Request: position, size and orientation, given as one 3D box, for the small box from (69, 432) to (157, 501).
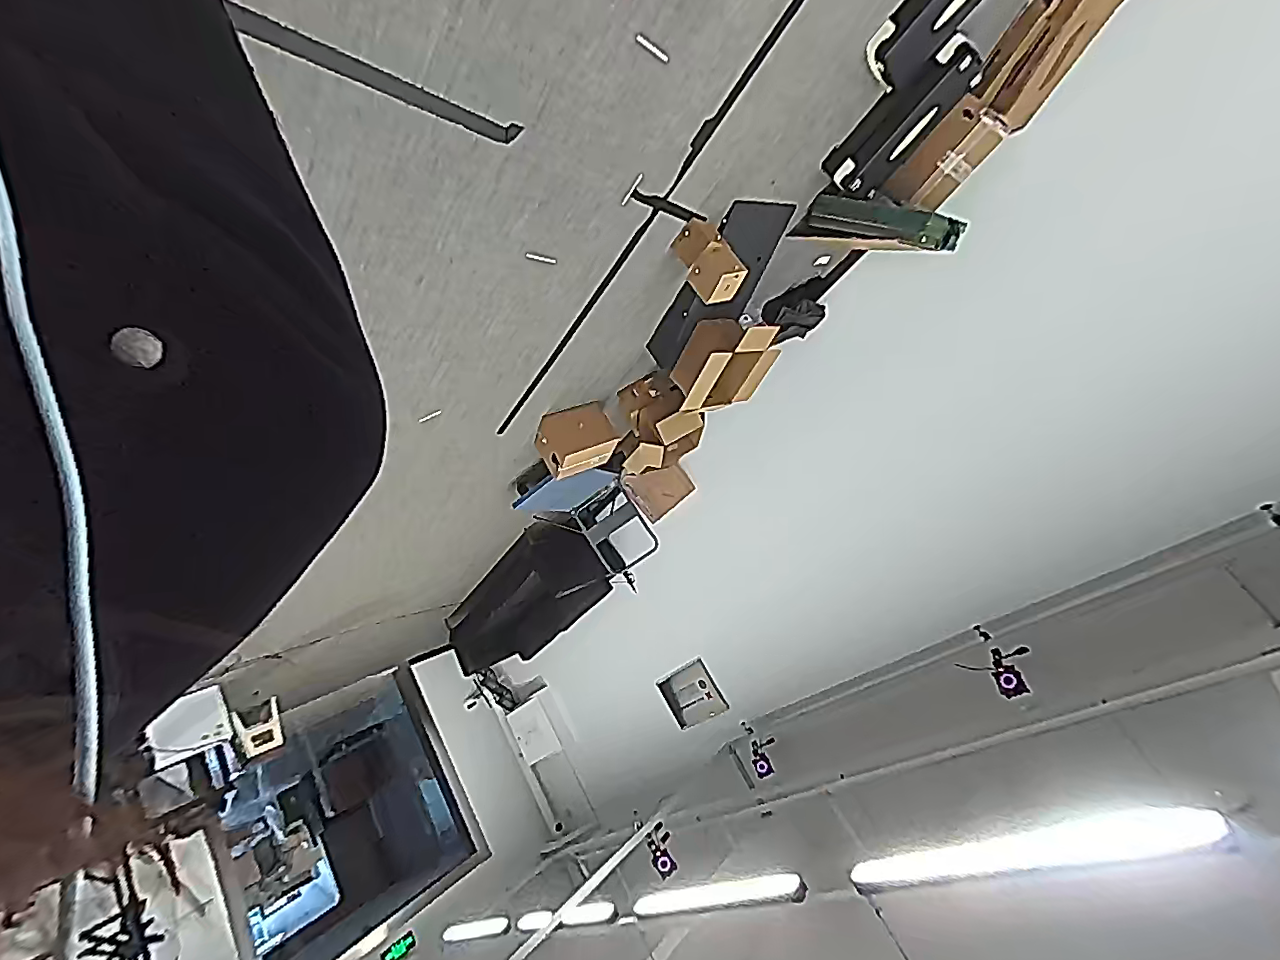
[{"bbox_3d":[-1.785,-0.050,1.827,0.168,0.176,0.179,-42,163,29],"label":"small box"}]
